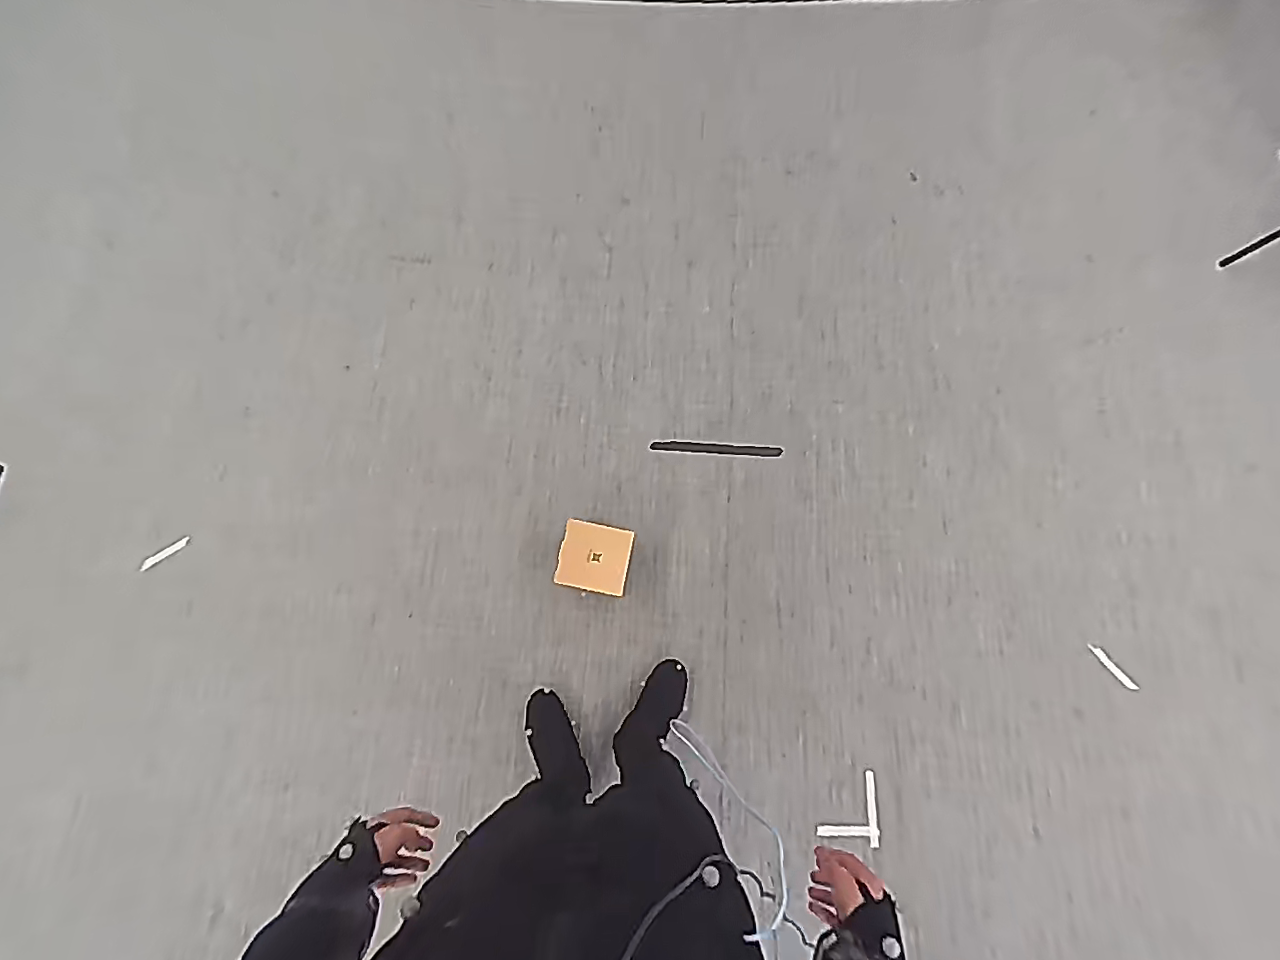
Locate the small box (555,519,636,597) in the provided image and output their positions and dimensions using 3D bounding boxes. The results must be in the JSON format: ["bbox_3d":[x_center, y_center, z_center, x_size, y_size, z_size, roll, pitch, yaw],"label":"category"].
[{"bbox_3d":[-0.112,0.210,1.430,0.179,0.176,0.168,12,76,2],"label":"small box"}]
